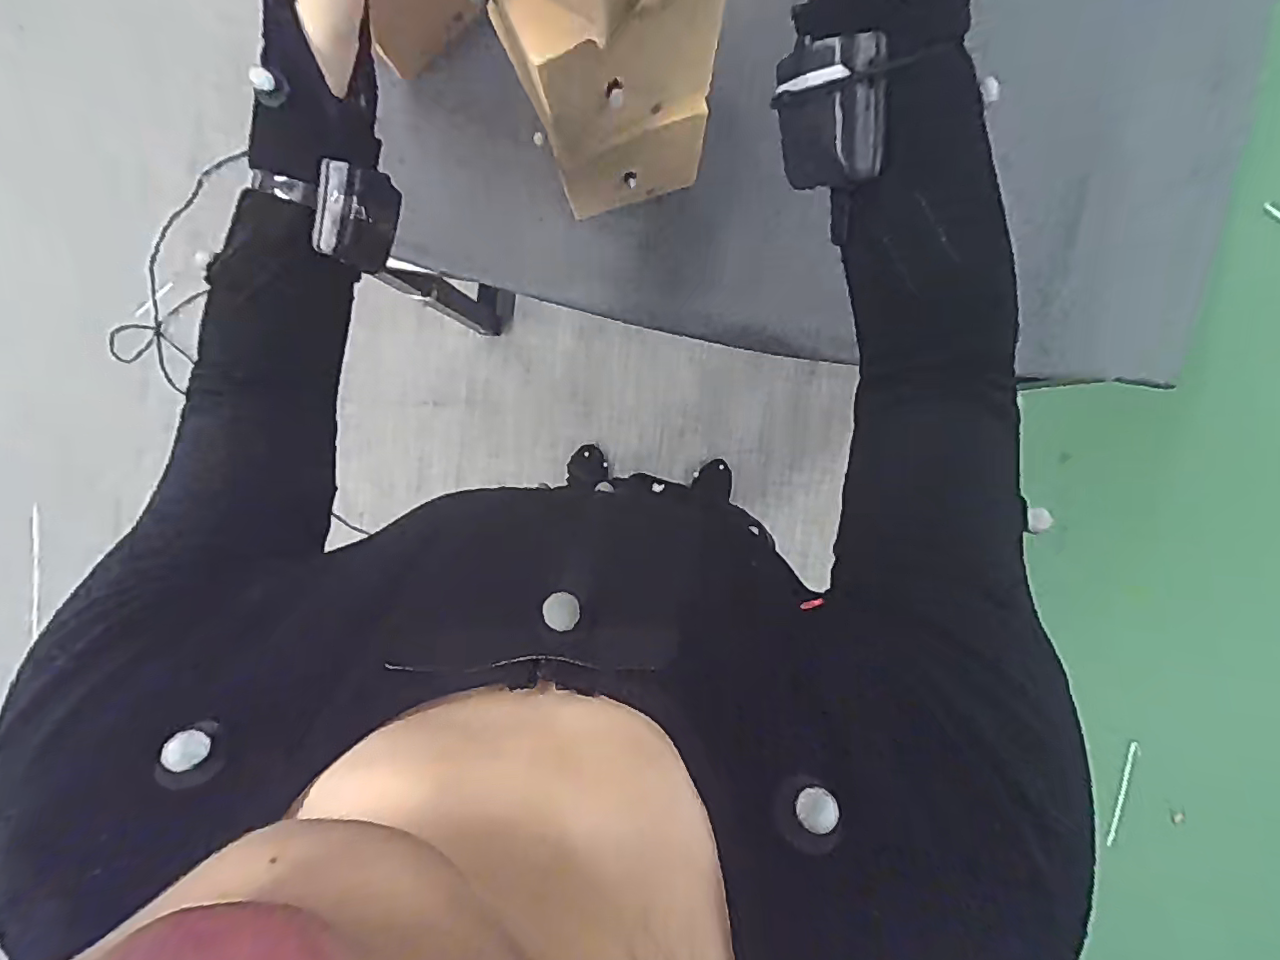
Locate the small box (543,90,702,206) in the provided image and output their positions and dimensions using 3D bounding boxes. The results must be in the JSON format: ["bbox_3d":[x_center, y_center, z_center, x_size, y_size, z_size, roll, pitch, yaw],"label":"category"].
[{"bbox_3d":[-0.032,-0.445,0.627,0.168,0.176,0.179,-16,95,2],"label":"small box"}]

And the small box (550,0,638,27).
[{"bbox_3d":[-0.043,-0.386,0.262,0.179,0.176,0.168,35,101,-10],"label":"small box"}]

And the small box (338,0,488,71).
[{"bbox_3d":[-0.302,-0.632,0.614,0.168,0.176,0.179,-41,94,5],"label":"small box"}]

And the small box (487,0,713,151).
[{"bbox_3d":[-0.042,-0.424,0.466,0.168,0.176,0.179,-27,94,4],"label":"small box"}]
